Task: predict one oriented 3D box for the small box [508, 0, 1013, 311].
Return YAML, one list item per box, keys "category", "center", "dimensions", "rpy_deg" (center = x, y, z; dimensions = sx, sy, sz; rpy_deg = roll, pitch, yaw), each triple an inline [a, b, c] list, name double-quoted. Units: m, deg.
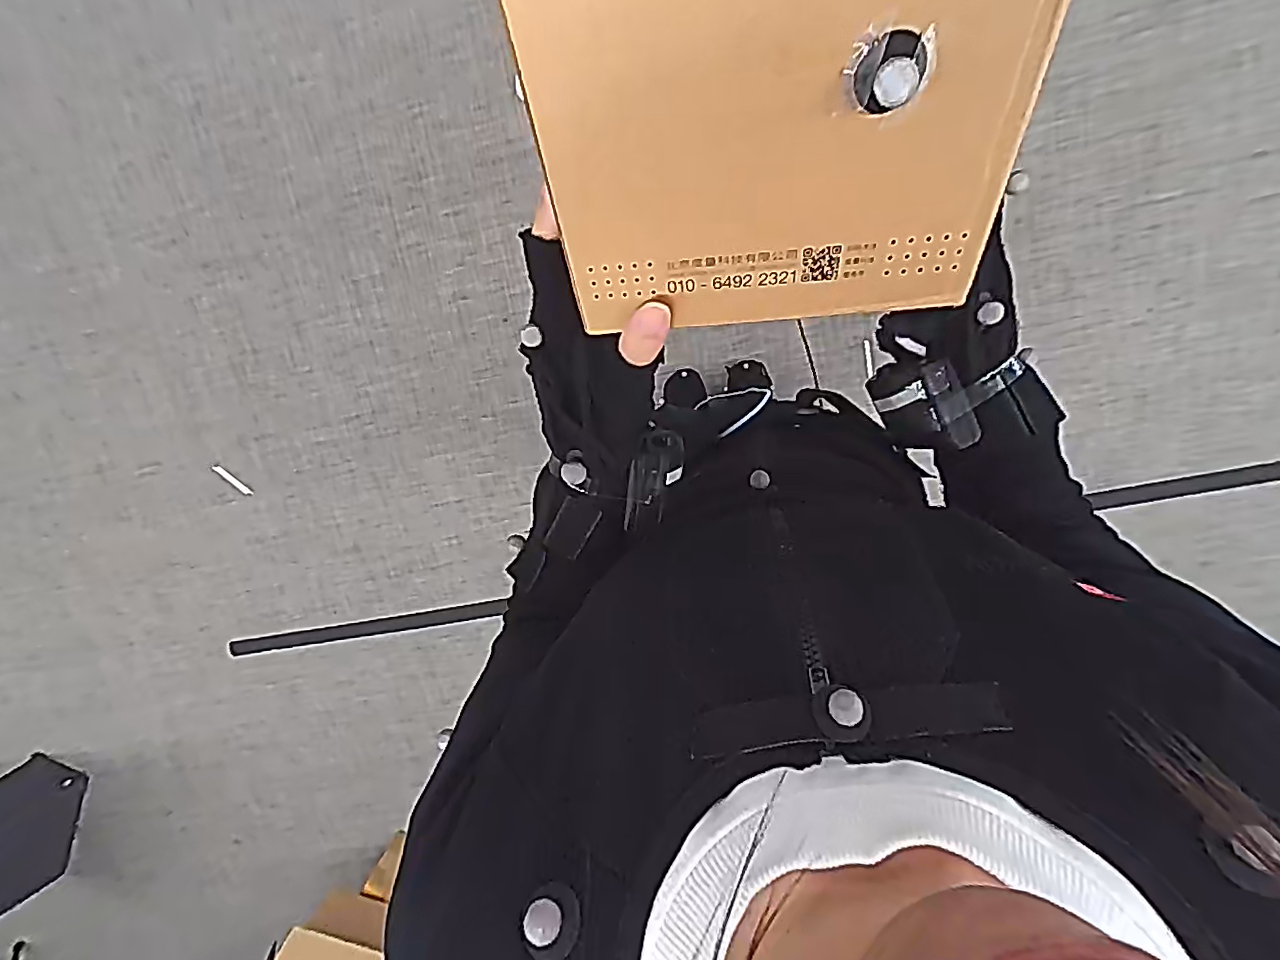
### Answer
- category: "small box"
  center: [0.053, -0.193, 0.251]
  dimensions: [0.168, 0.179, 0.176]
  rpy_deg: [-1, 140, 10]
